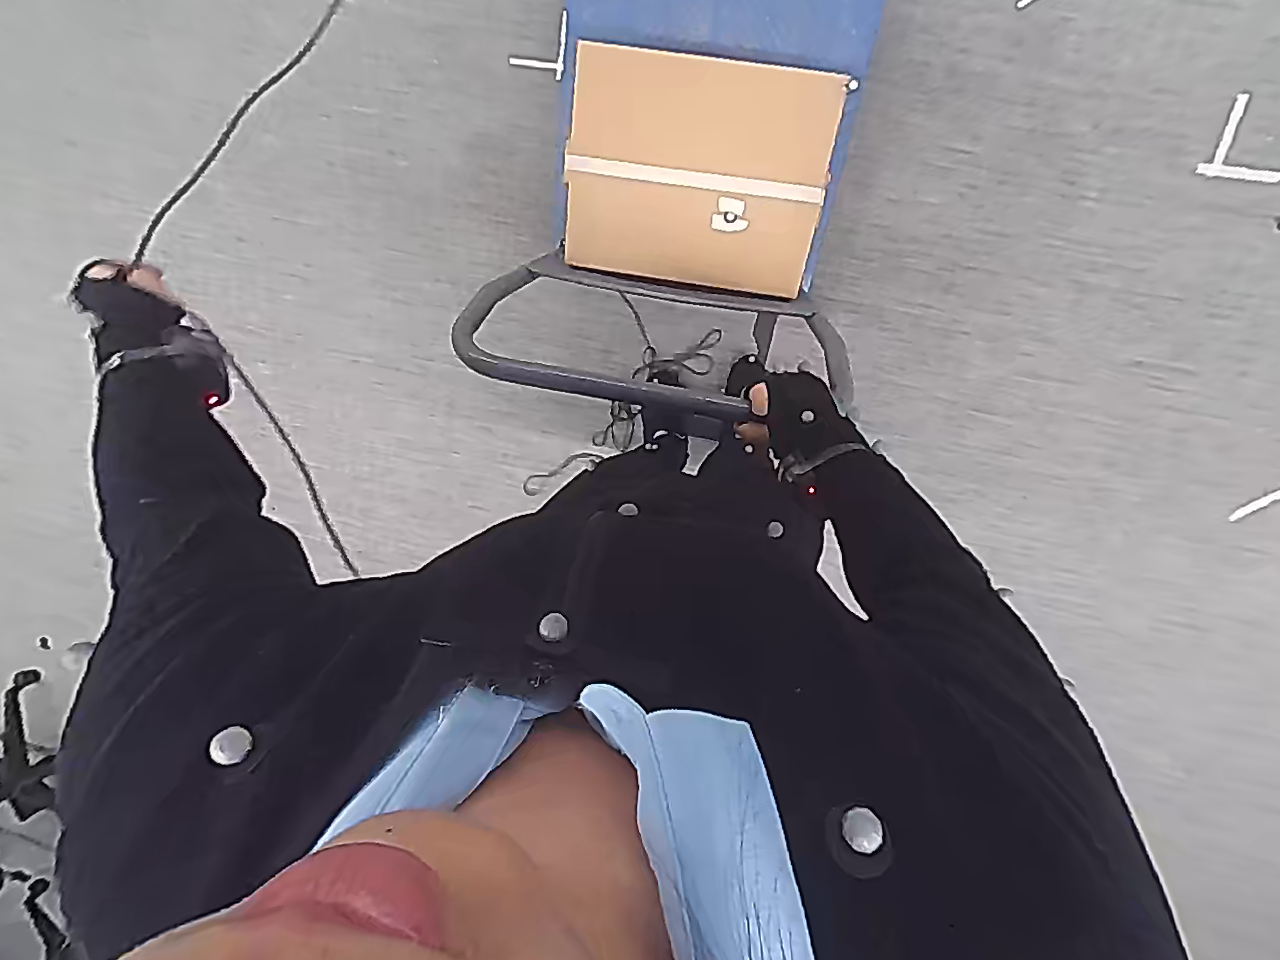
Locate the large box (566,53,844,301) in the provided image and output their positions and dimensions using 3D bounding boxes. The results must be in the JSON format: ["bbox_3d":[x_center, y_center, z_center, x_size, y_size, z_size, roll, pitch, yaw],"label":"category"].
[{"bbox_3d":[0.097,-0.528,0.986,0.408,0.320,0.320,9,117,2],"label":"large box"}]
